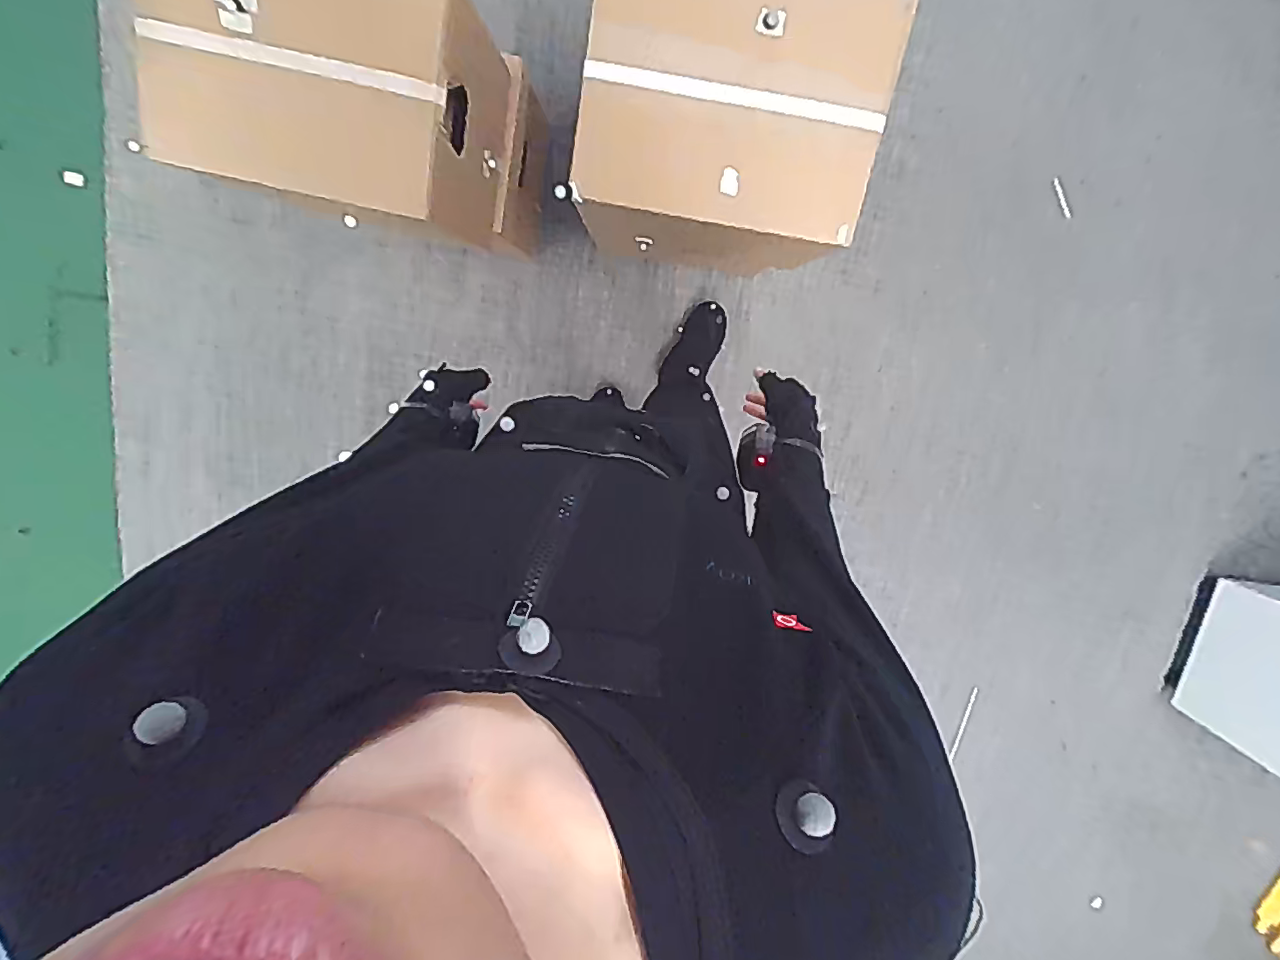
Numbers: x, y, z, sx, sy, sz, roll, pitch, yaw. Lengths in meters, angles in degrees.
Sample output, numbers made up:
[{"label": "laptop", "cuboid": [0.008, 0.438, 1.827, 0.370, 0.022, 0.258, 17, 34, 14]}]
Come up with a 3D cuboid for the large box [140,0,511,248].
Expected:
[{"label": "large box", "cuboid": [-0.456, -0.585, 0.862, 0.408, 0.320, 0.320, 13, 105, 0]}]
